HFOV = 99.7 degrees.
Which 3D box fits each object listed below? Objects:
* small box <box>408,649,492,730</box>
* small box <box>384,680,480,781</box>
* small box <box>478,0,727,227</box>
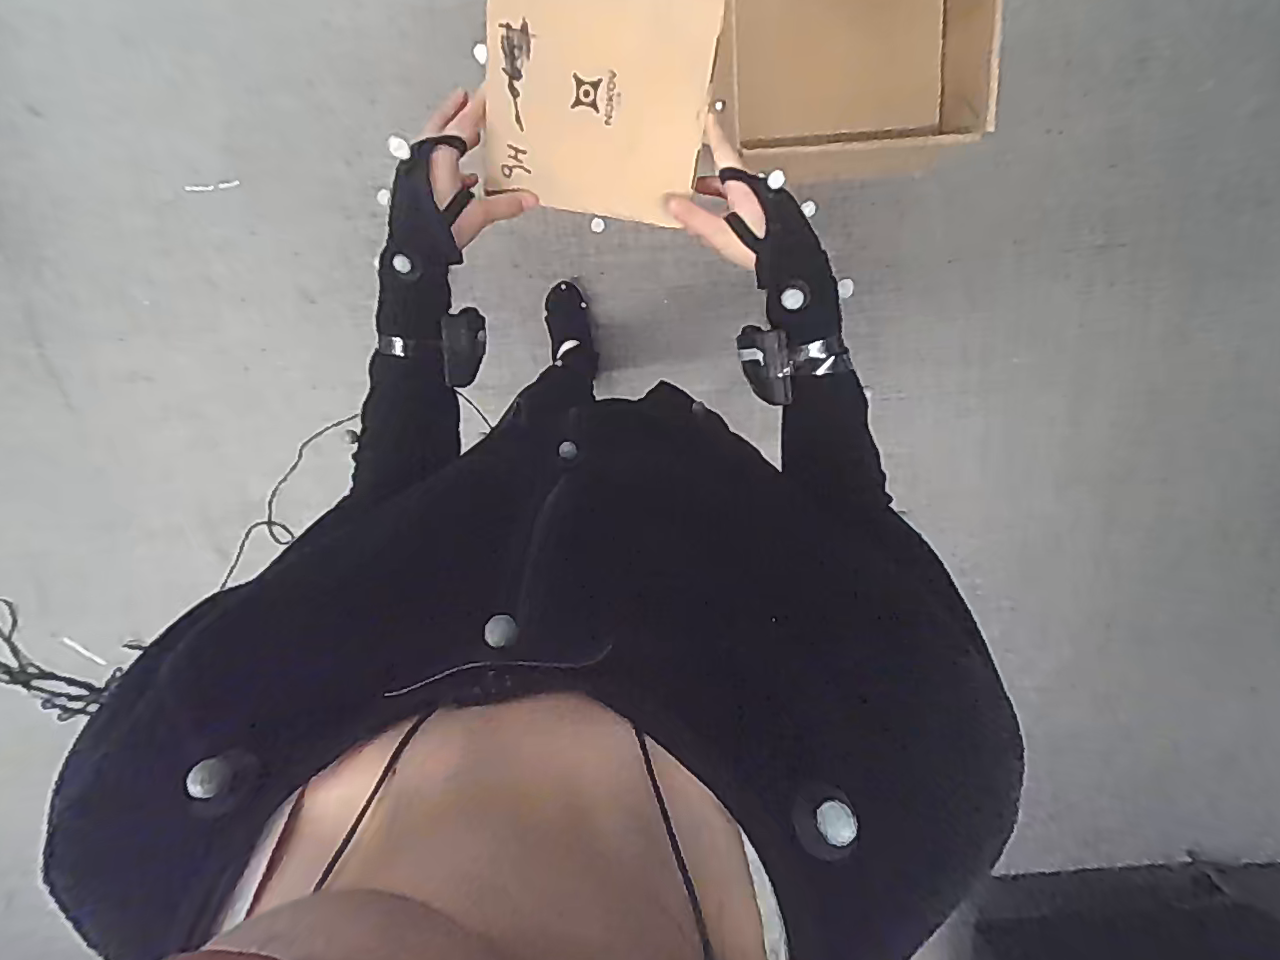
[{"bbox_3d":[-0.532,0.600,1.546,0.179,0.176,0.168,-6,102,1],"label":"small box"},{"bbox_3d":[-0.520,0.633,1.385,0.179,0.176,0.168,-6,101,1],"label":"small box"},{"bbox_3d":[-0.035,-0.333,0.488,0.179,0.176,0.168,8,114,-4],"label":"small box"}]
